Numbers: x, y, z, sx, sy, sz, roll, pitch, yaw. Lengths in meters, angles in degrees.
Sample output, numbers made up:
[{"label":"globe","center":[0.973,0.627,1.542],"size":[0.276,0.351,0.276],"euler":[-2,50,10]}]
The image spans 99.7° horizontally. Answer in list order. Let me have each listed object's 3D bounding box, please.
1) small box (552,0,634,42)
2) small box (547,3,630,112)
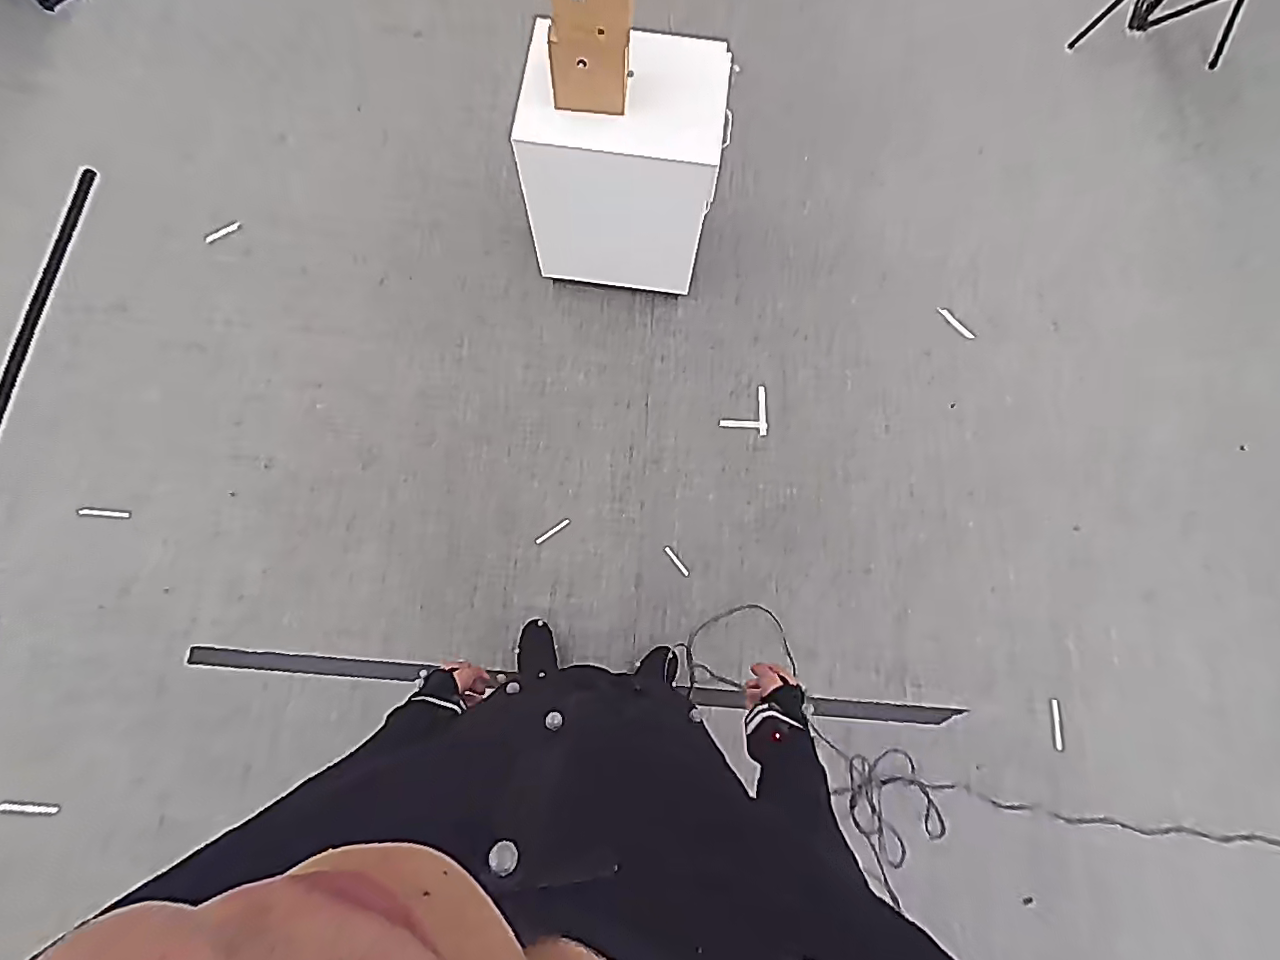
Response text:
[{"label":"small box","center":[-0.096,-1.071,1.136],"size":[0.168,0.176,0.179],"euler":[6,75,-1]},{"label":"small box","center":[-0.117,-1.020,1.290],"size":[0.179,0.176,0.168],"euler":[5,76,-2]}]
